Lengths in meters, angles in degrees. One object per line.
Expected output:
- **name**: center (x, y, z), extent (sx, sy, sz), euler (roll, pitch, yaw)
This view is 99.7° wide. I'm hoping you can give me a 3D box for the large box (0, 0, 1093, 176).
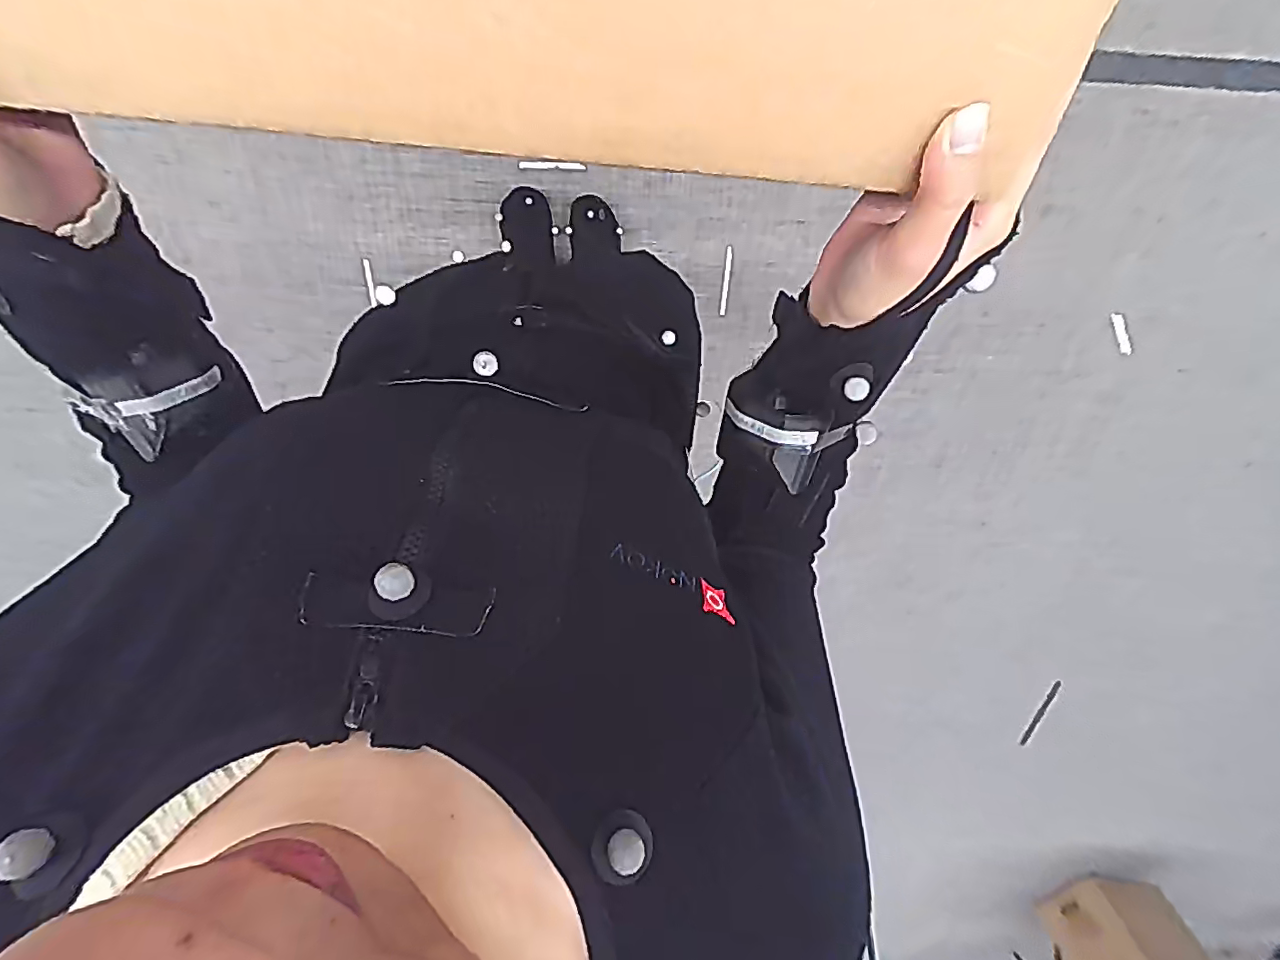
- **large box**: center (-0.045, -0.340, 0.189), extent (0.408, 0.320, 0.320), euler (2, 140, -5)
